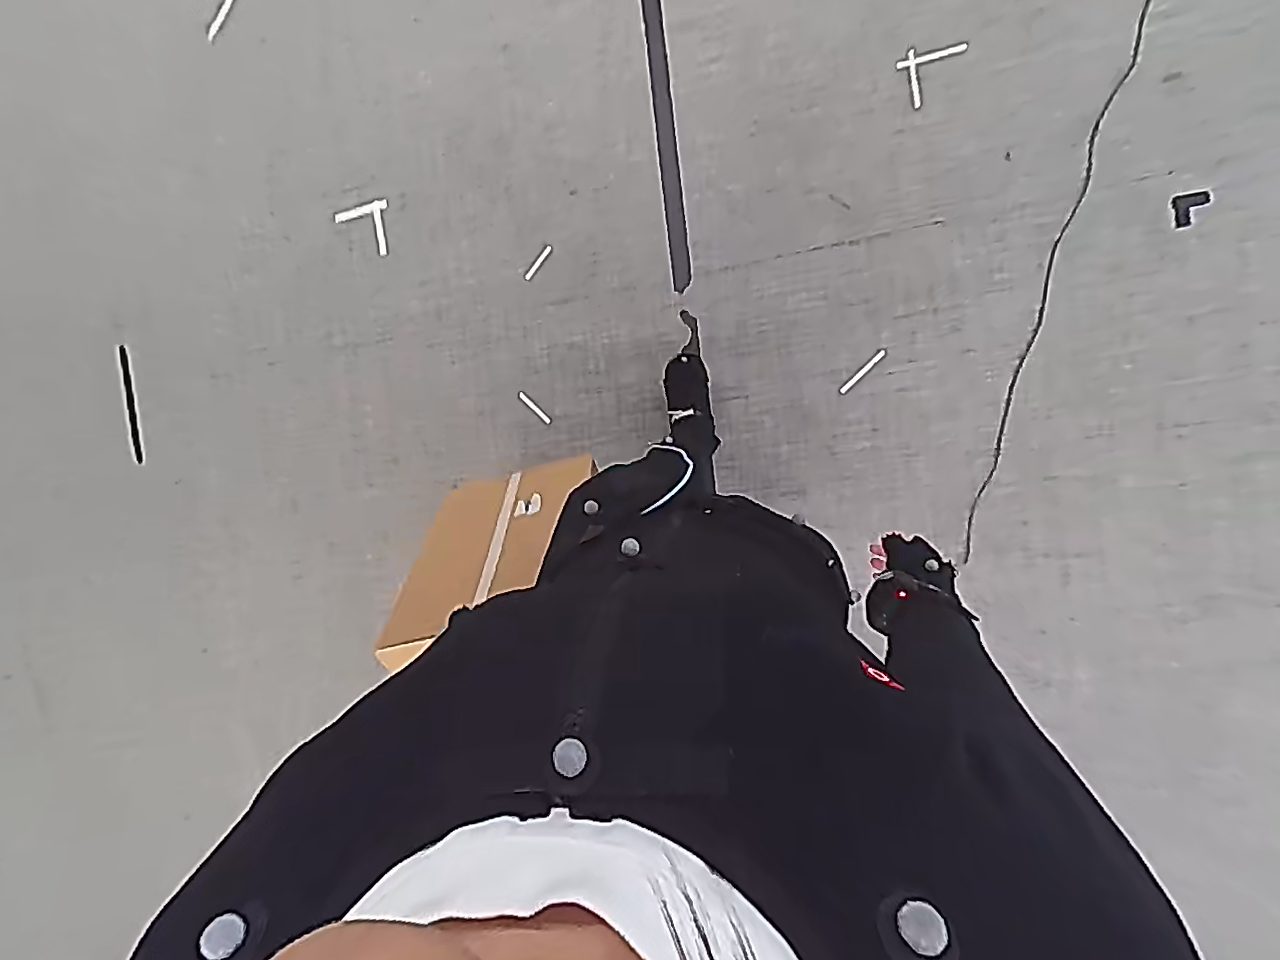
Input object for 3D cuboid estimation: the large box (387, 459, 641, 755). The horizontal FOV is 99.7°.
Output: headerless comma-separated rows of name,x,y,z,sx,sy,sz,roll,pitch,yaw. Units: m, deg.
large box,-0.189,0.220,1.008,0.320,0.408,0.320,-13,121,7
